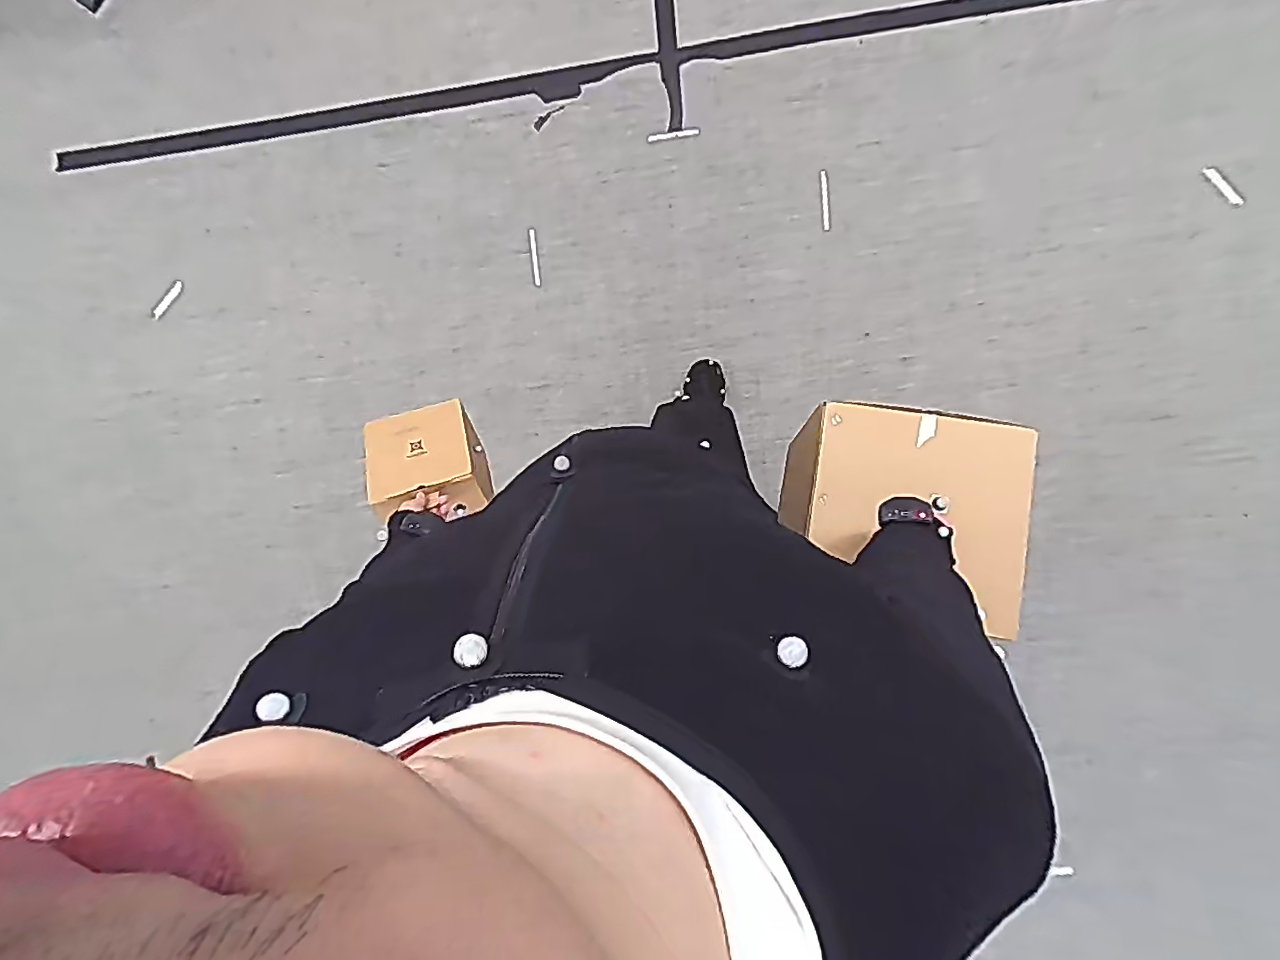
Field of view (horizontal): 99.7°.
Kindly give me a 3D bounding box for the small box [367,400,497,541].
[{"bbox_3d":[-0.366,-0.009,0.968,0.168,0.176,0.179,-16,56,-8],"label":"small box"}]
